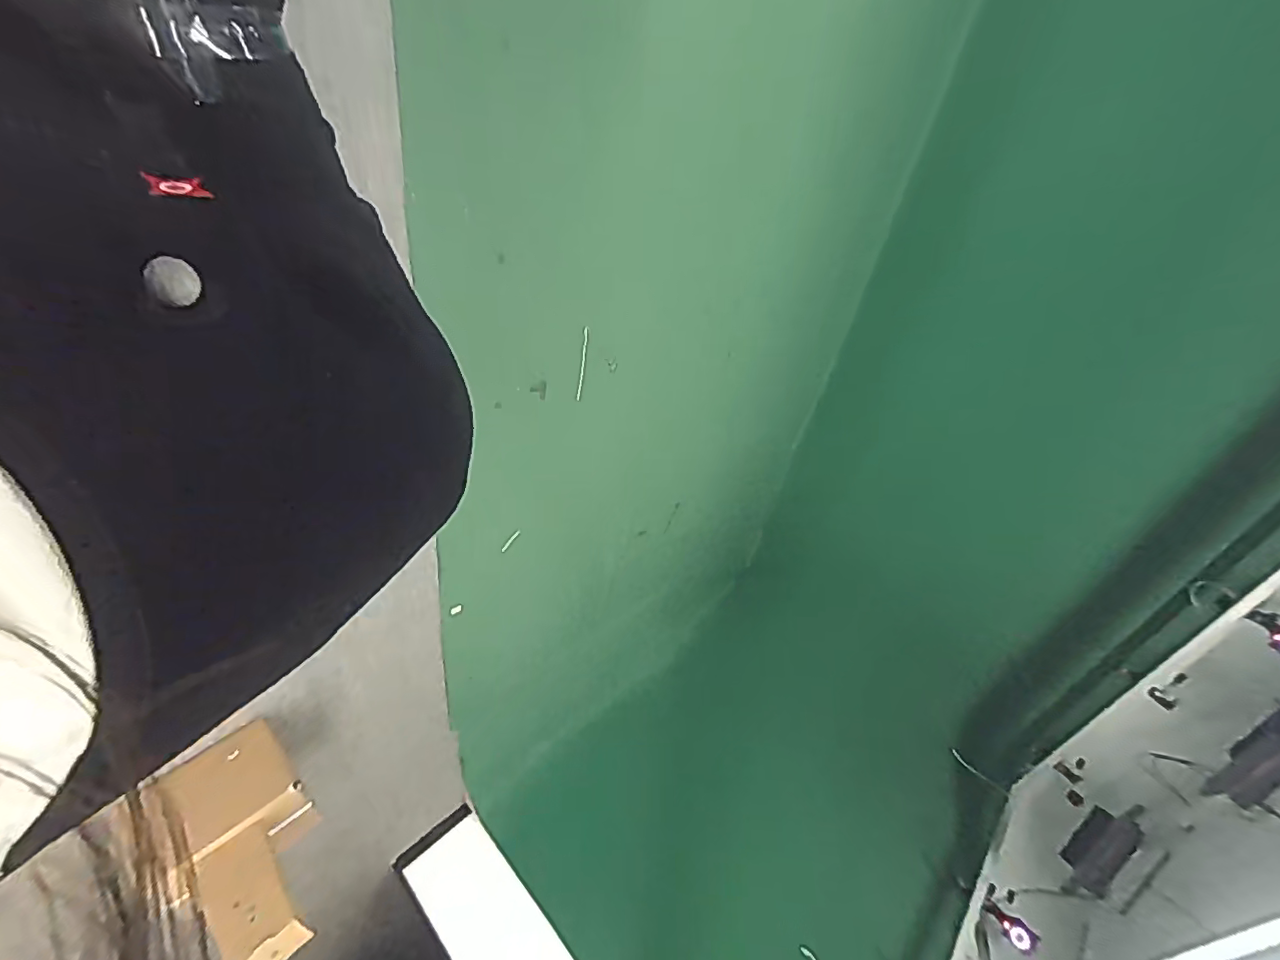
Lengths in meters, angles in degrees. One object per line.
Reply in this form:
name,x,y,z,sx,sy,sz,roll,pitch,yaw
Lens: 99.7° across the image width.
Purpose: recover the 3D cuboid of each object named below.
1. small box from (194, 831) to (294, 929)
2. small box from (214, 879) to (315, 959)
small box,-1.178,1.197,1.609,0.179,0.176,0.168,-29,140,-36
small box,-1.063,1.283,1.531,0.168,0.176,0.179,-30,141,-37
